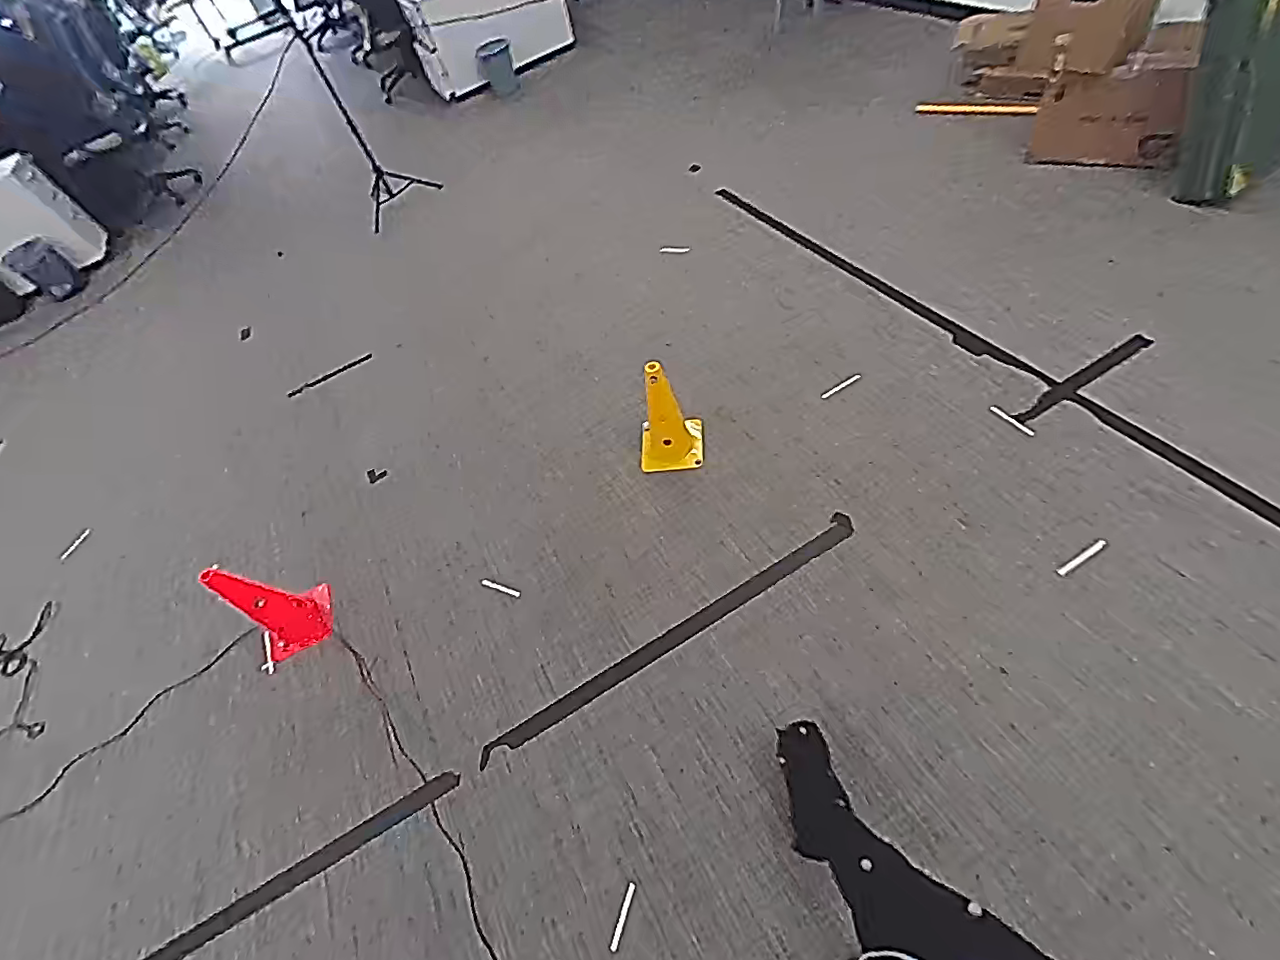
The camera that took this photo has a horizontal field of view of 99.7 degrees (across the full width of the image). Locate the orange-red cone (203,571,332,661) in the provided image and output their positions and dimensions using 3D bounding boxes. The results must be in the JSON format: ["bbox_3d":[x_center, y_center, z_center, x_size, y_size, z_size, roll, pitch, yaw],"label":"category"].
[{"bbox_3d":[-1.095,0.352,1.559,0.199,0.360,0.198,-24,54,-4],"label":"orange-red cone"}]
